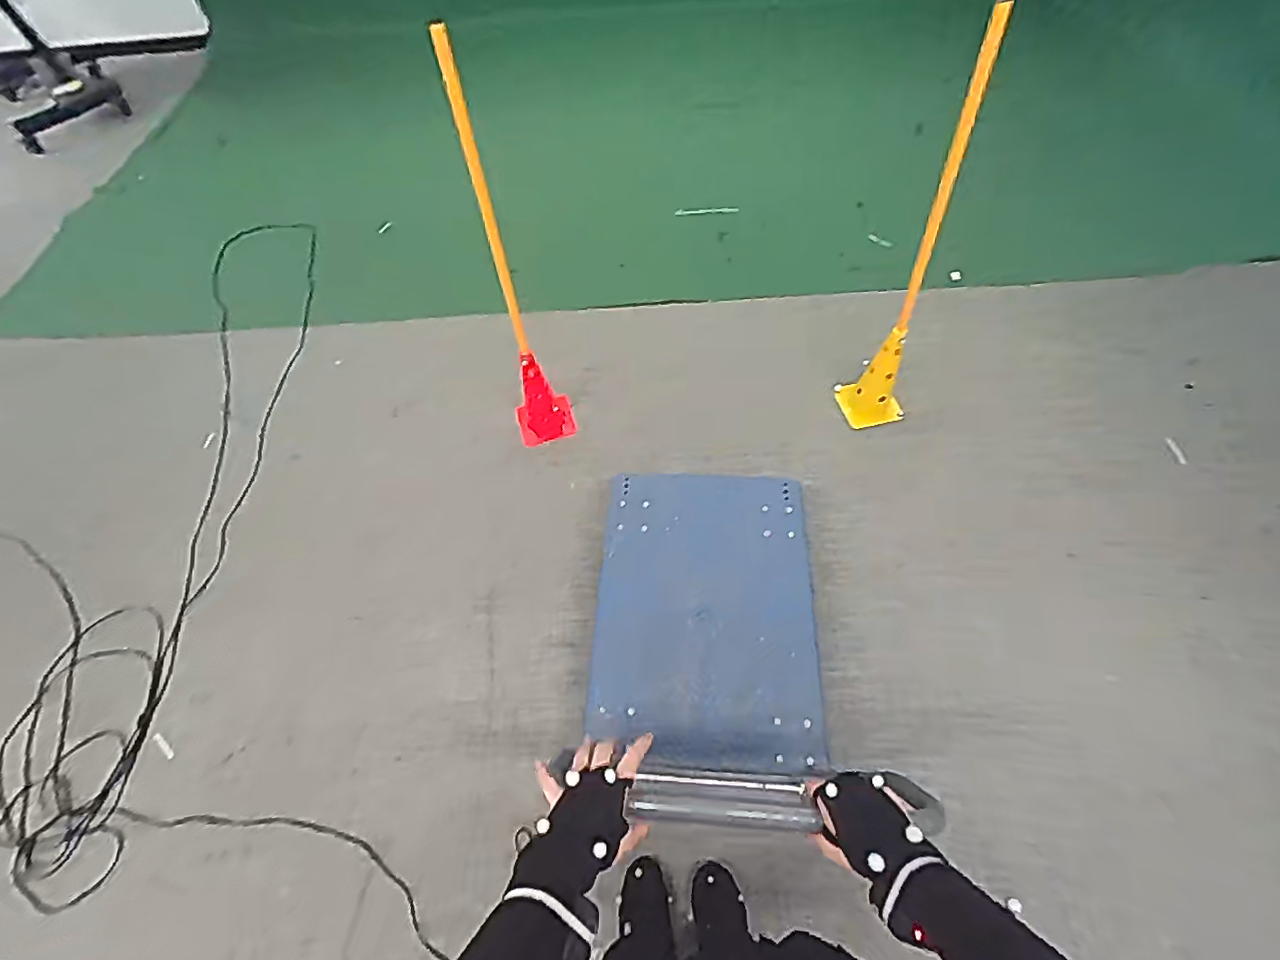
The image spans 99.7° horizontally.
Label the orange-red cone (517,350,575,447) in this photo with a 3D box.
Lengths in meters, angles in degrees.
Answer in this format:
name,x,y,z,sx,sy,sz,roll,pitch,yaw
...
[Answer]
name,x,y,z,sx,sy,sz,roll,pitch,yaw
orange-red cone,-0.361,-0.305,1.864,0.199,0.360,0.198,-16,58,-5
